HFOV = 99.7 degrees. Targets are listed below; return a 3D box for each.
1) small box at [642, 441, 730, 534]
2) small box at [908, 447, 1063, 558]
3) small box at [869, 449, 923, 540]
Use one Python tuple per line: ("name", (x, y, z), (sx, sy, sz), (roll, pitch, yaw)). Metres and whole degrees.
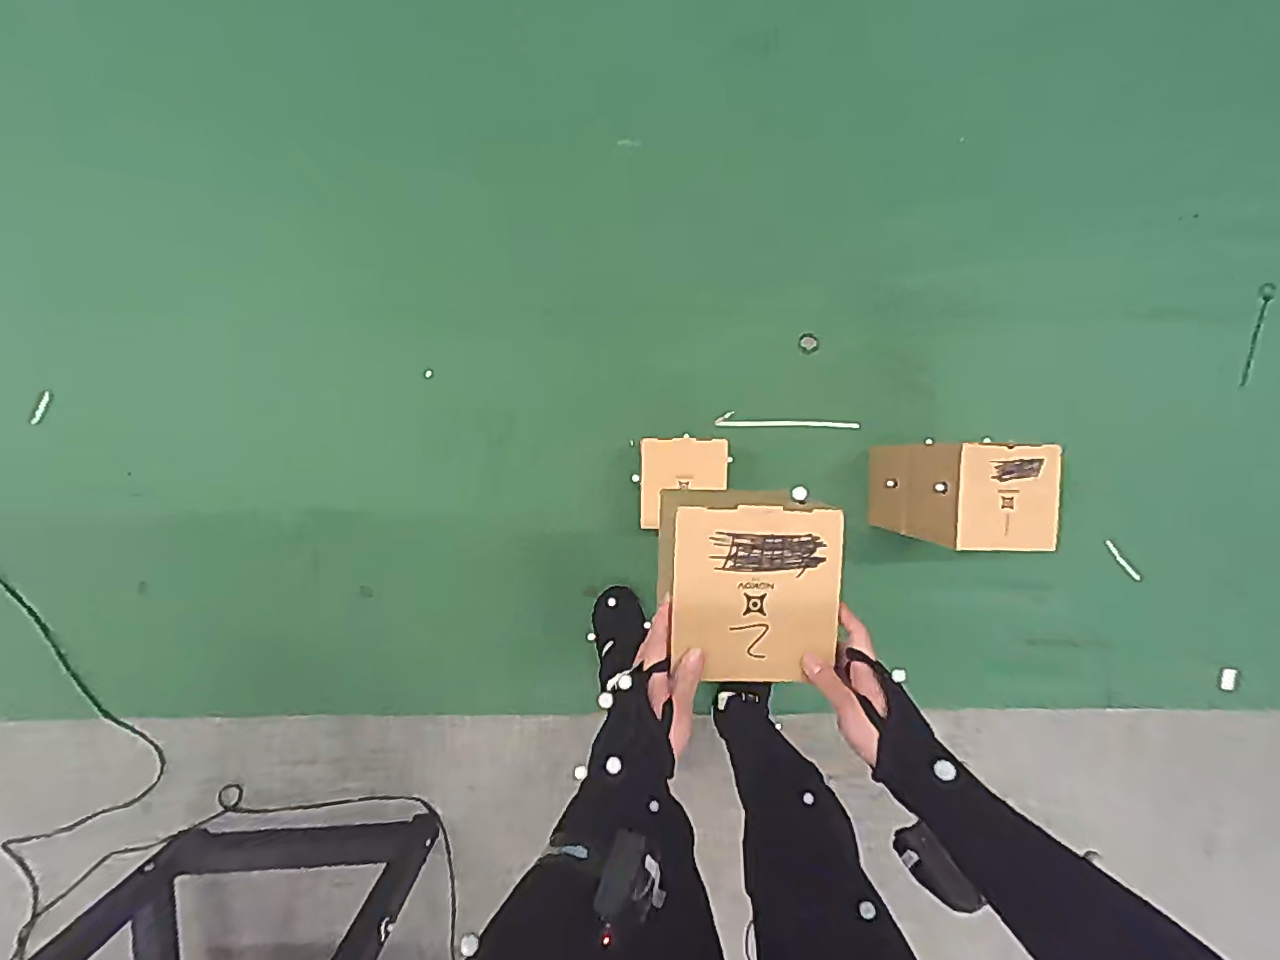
("small box", (0.089, 0.012, 1.110), (0.168, 0.176, 0.179), (1, 91, -1))
("small box", (0.597, 0.034, 0.954), (0.168, 0.176, 0.179), (2, 93, -1))
("small box", (0.592, 0.029, 1.119), (0.168, 0.176, 0.179), (2, 92, -1))
